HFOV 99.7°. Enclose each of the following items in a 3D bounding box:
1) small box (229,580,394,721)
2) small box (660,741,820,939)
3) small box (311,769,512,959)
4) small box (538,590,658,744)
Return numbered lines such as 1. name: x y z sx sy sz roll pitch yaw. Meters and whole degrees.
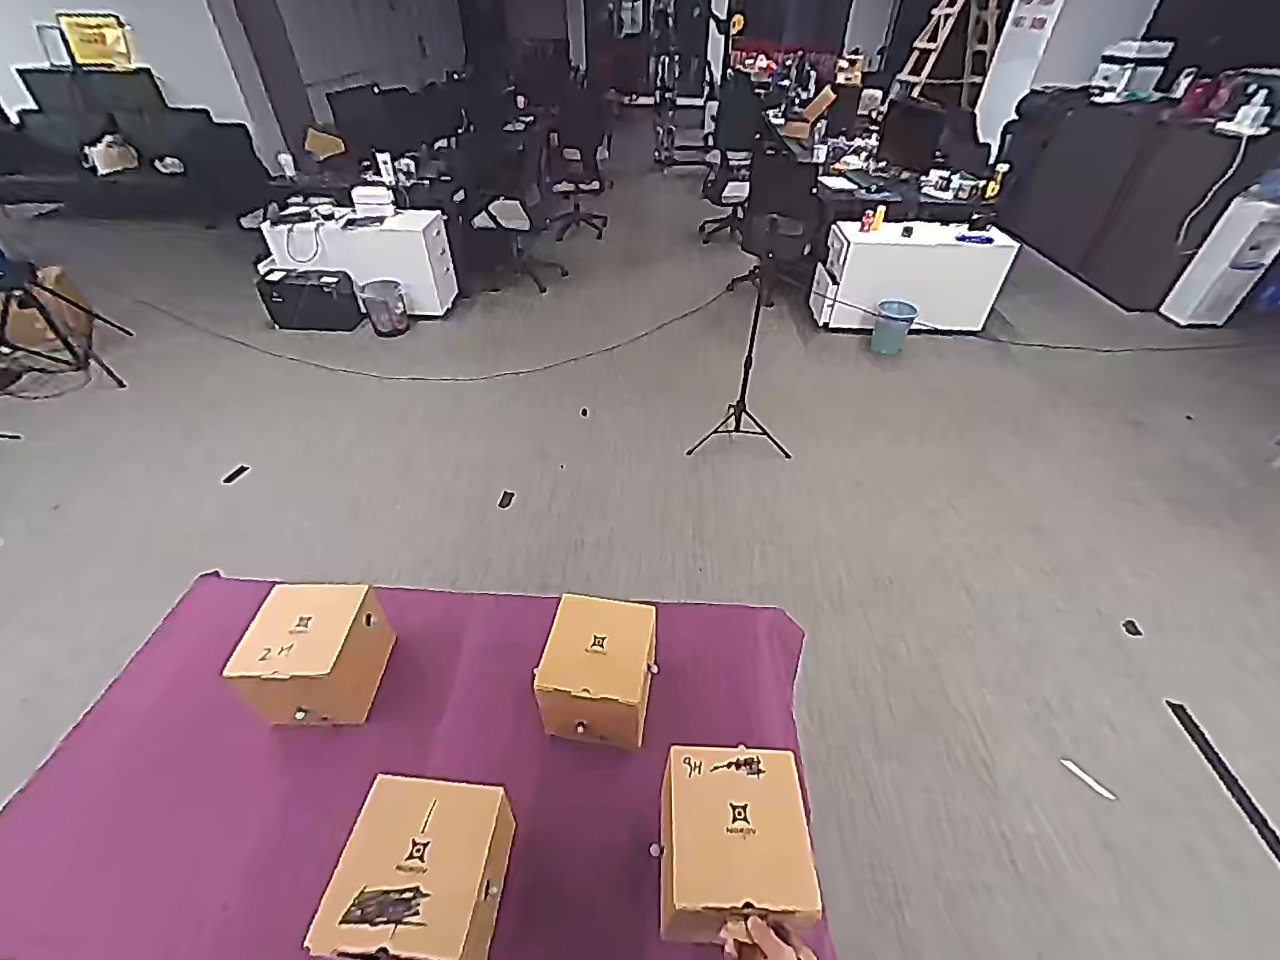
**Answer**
1. small box: -0.552 0.295 0.943 0.168 0.176 0.179 0 42 0
2. small box: 0.116 0.466 0.699 0.168 0.176 0.179 4 40 -1
3. small box: -0.265 0.495 0.682 0.168 0.176 0.179 6 43 0
4. small box: -0.064 0.319 0.926 0.168 0.176 0.179 7 43 7
